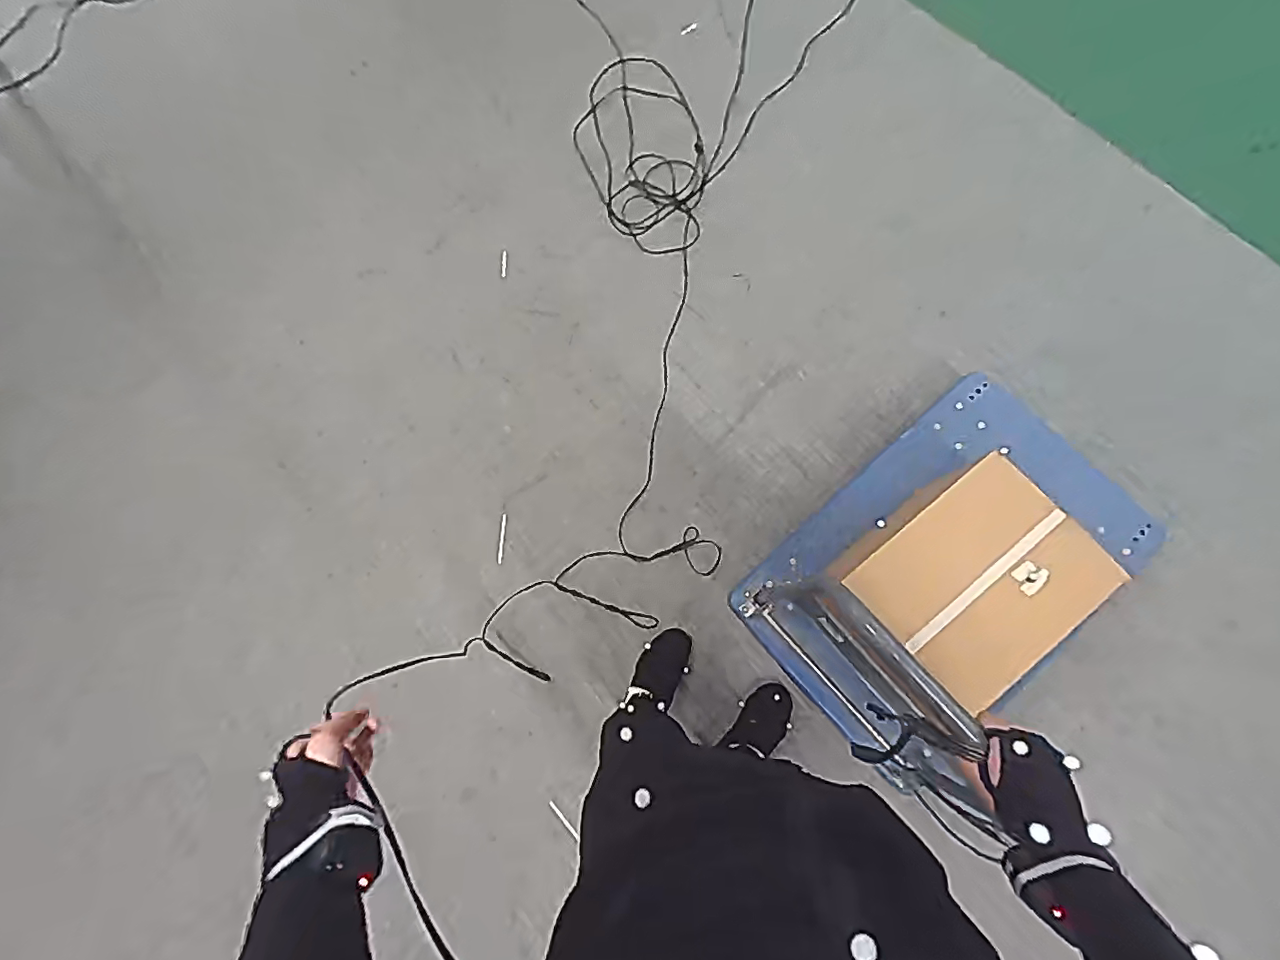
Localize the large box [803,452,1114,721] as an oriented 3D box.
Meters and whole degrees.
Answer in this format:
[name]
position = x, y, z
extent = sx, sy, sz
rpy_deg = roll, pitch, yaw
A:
[large box]
position = 0.616, 0.218, 1.126
extent = 0.408, 0.320, 0.320
rpy_deg = -39, 78, -6
